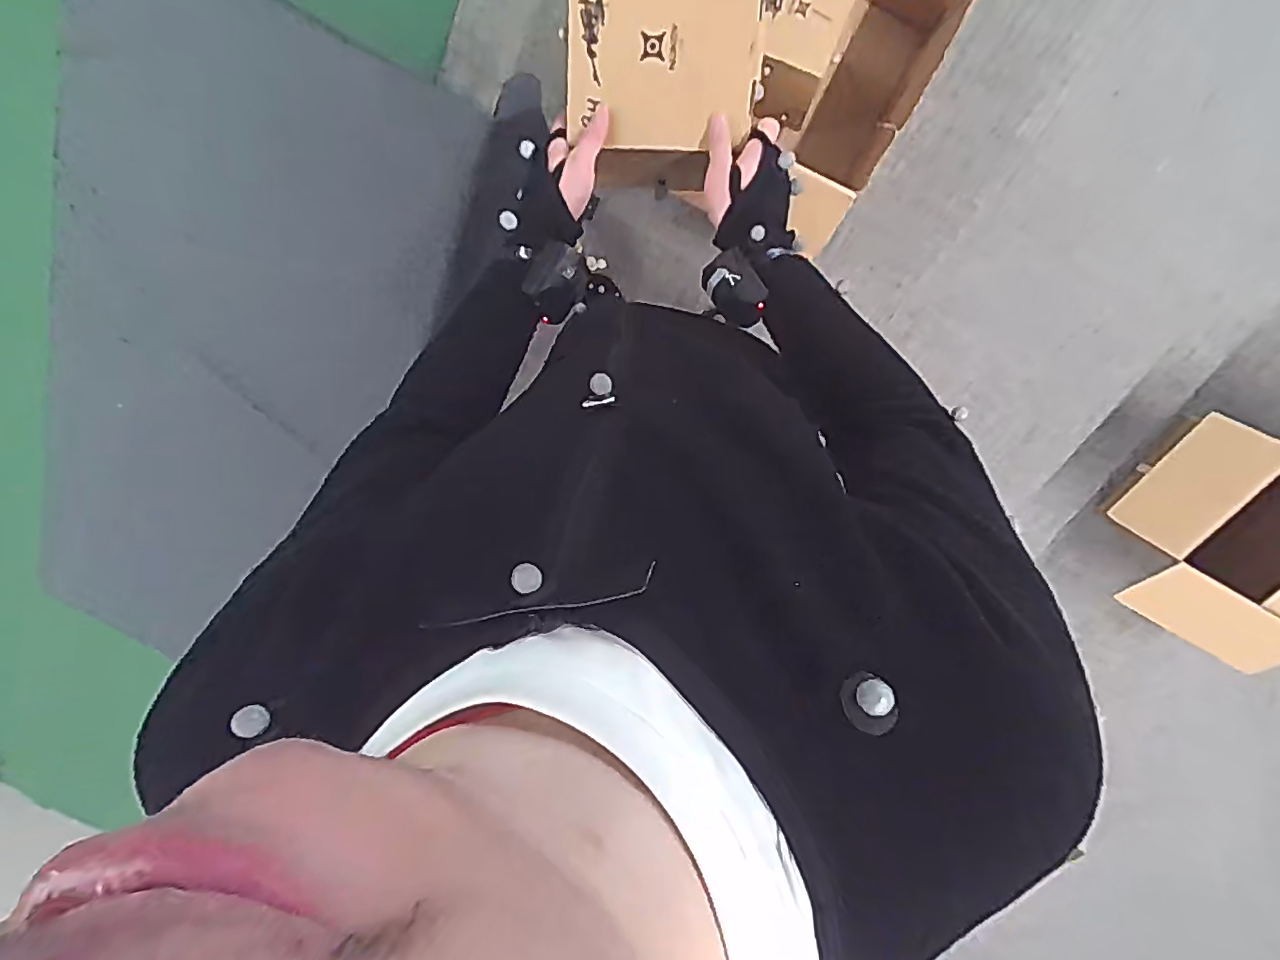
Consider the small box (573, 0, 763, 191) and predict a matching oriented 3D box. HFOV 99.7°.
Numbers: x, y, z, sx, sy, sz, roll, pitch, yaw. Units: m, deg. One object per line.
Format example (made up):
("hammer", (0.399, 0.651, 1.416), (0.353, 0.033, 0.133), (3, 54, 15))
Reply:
("small box", (0.027, -0.420, 0.582), (0.179, 0.176, 0.168), (3, 108, 3))
